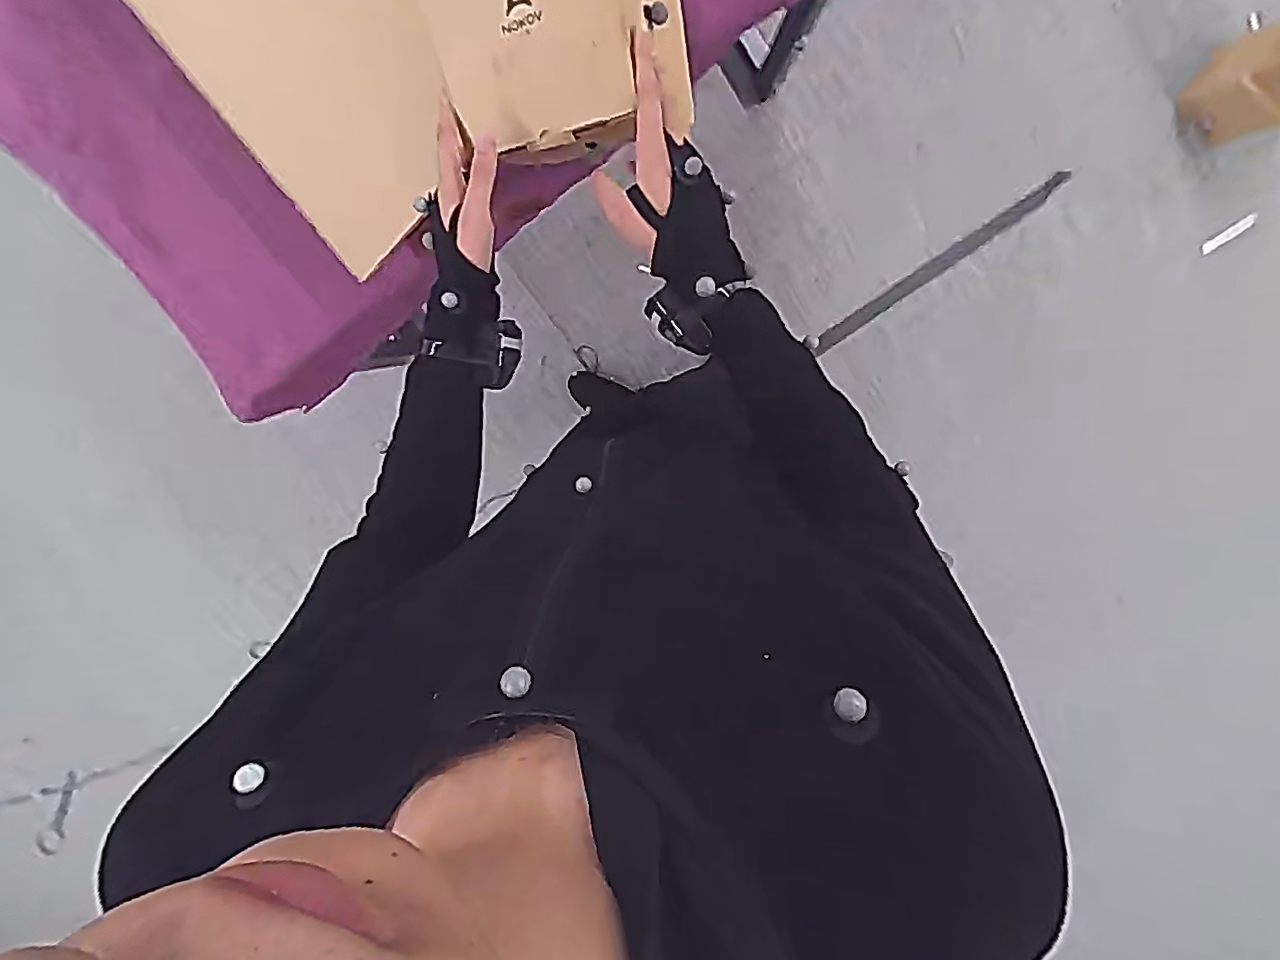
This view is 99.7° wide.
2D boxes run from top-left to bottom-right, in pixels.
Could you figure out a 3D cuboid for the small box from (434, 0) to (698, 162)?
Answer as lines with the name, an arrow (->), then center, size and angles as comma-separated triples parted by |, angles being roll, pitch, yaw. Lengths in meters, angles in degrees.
small box -> -0.055, -0.396, 0.470 | 0.168, 0.176, 0.179 | 0, 120, 23
